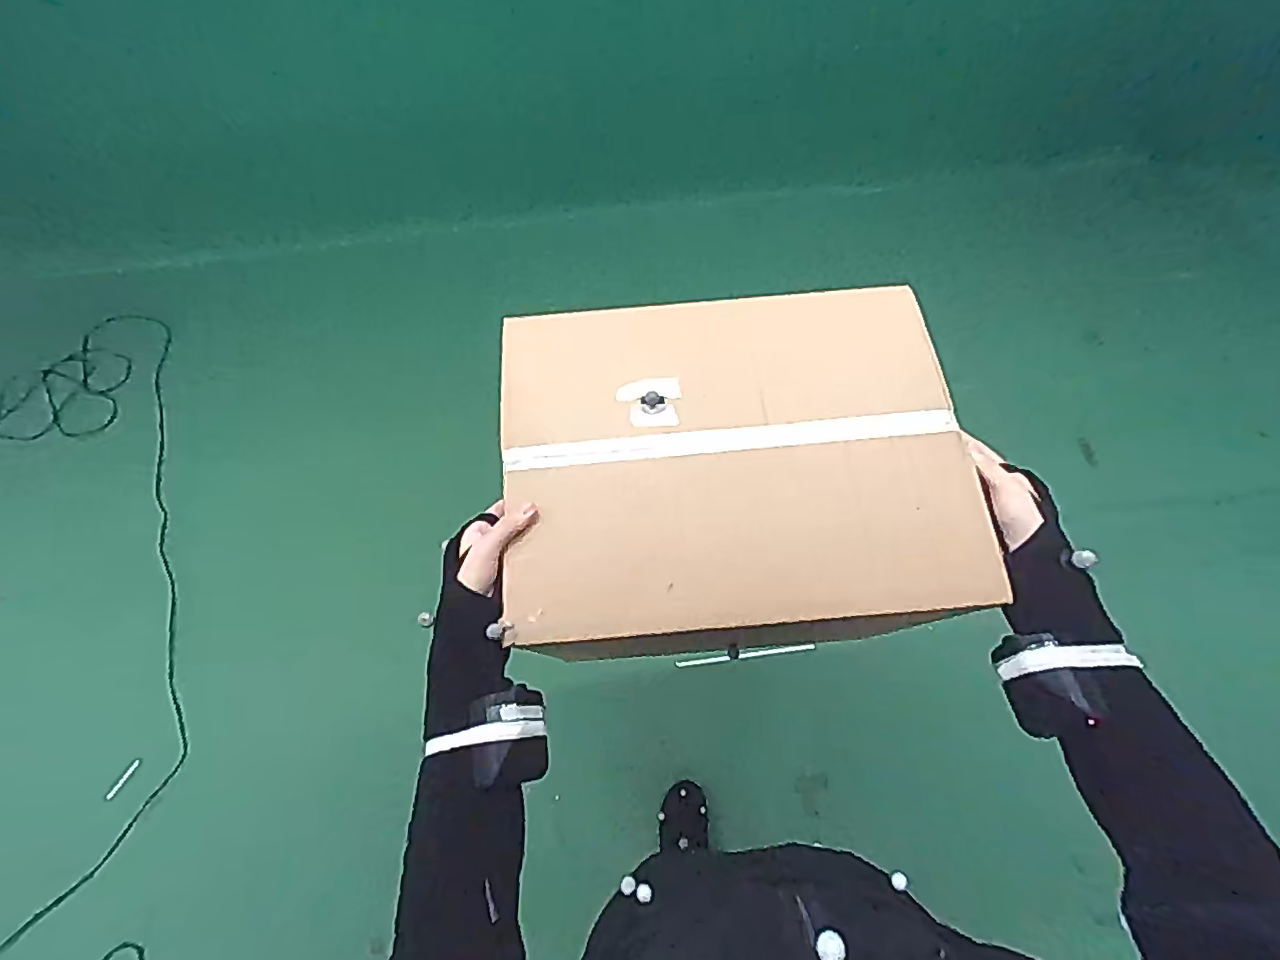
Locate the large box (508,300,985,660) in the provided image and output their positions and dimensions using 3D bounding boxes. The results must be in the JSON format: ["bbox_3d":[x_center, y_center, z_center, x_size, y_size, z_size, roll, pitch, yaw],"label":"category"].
[{"bbox_3d":[0.084,0.030,0.638,0.408,0.320,0.320,-5,68,1],"label":"large box"}]
